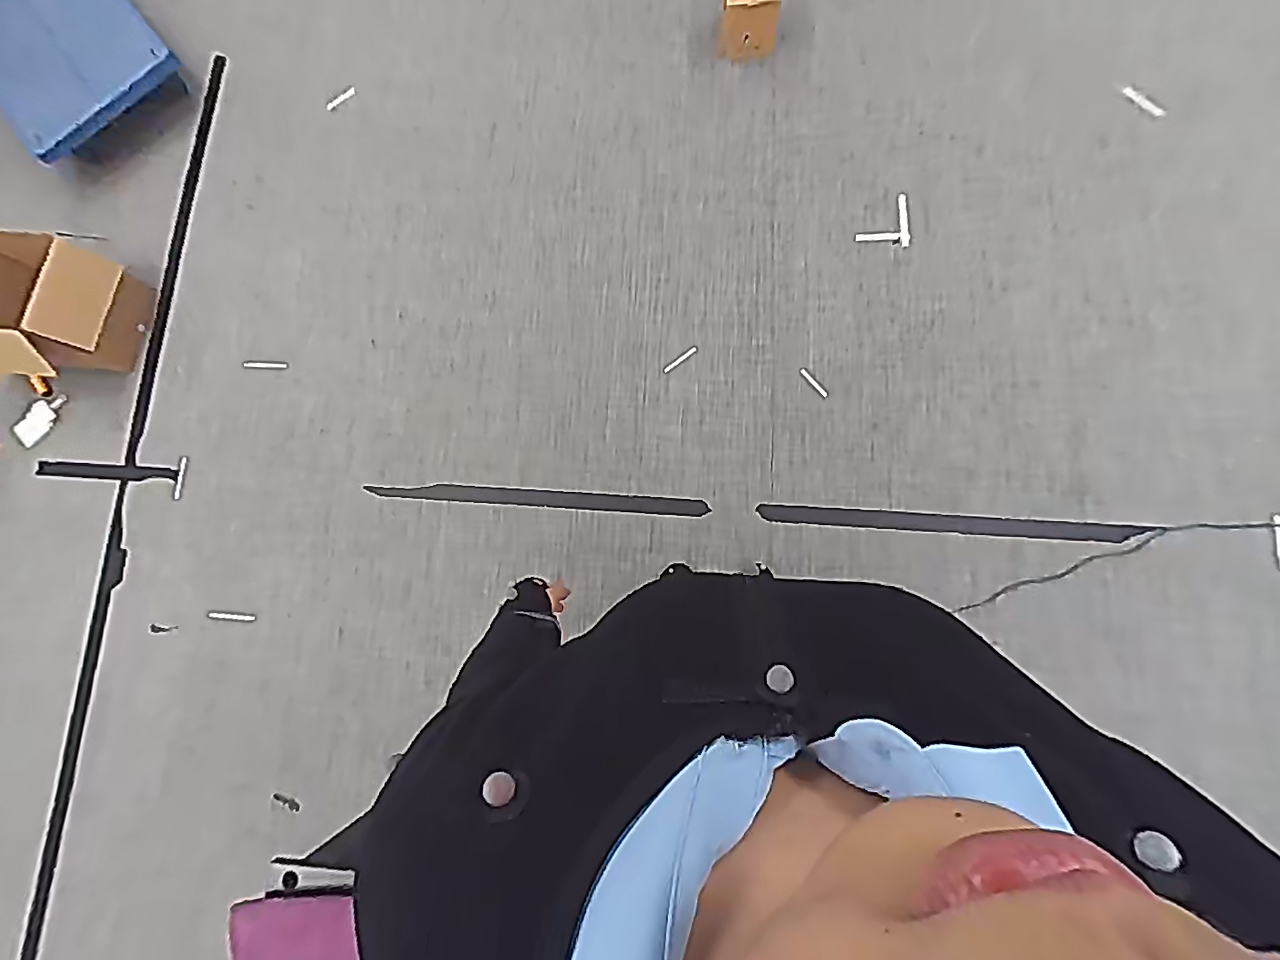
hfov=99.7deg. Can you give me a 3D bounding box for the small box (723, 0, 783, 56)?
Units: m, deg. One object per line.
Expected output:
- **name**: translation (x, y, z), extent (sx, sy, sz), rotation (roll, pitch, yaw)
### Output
- **small box**: translation (0.355, -1.508, 1.726), extent (0.168, 0.176, 0.179), rotation (-3, 80, 6)
